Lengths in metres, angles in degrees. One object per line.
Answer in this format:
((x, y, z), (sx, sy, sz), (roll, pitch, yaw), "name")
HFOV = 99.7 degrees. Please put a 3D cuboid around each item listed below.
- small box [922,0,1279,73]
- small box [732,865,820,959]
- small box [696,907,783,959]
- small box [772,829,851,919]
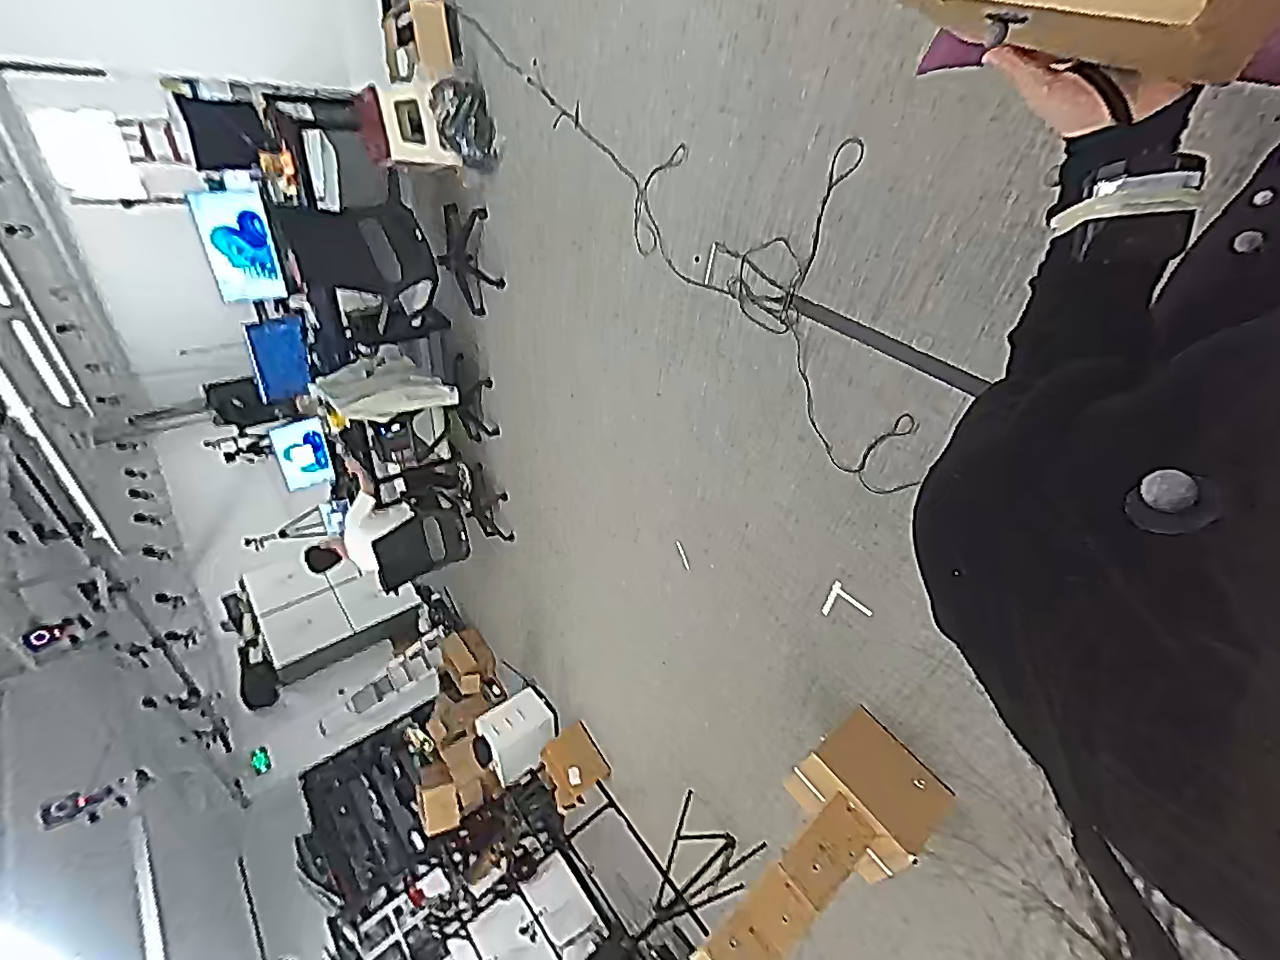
((0.262, -0.333, 0.277), (0.179, 0.176, 0.168), (43, 137, 30), "small box")
((0.410, 1.300, 1.615), (0.168, 0.176, 0.179), (42, 139, 31), "small box")
((0.287, 1.358, 1.526), (0.168, 0.176, 0.179), (42, 141, 32), "small box")
((0.534, 1.250, 1.708), (0.168, 0.176, 0.179), (44, 139, 29), "small box")
